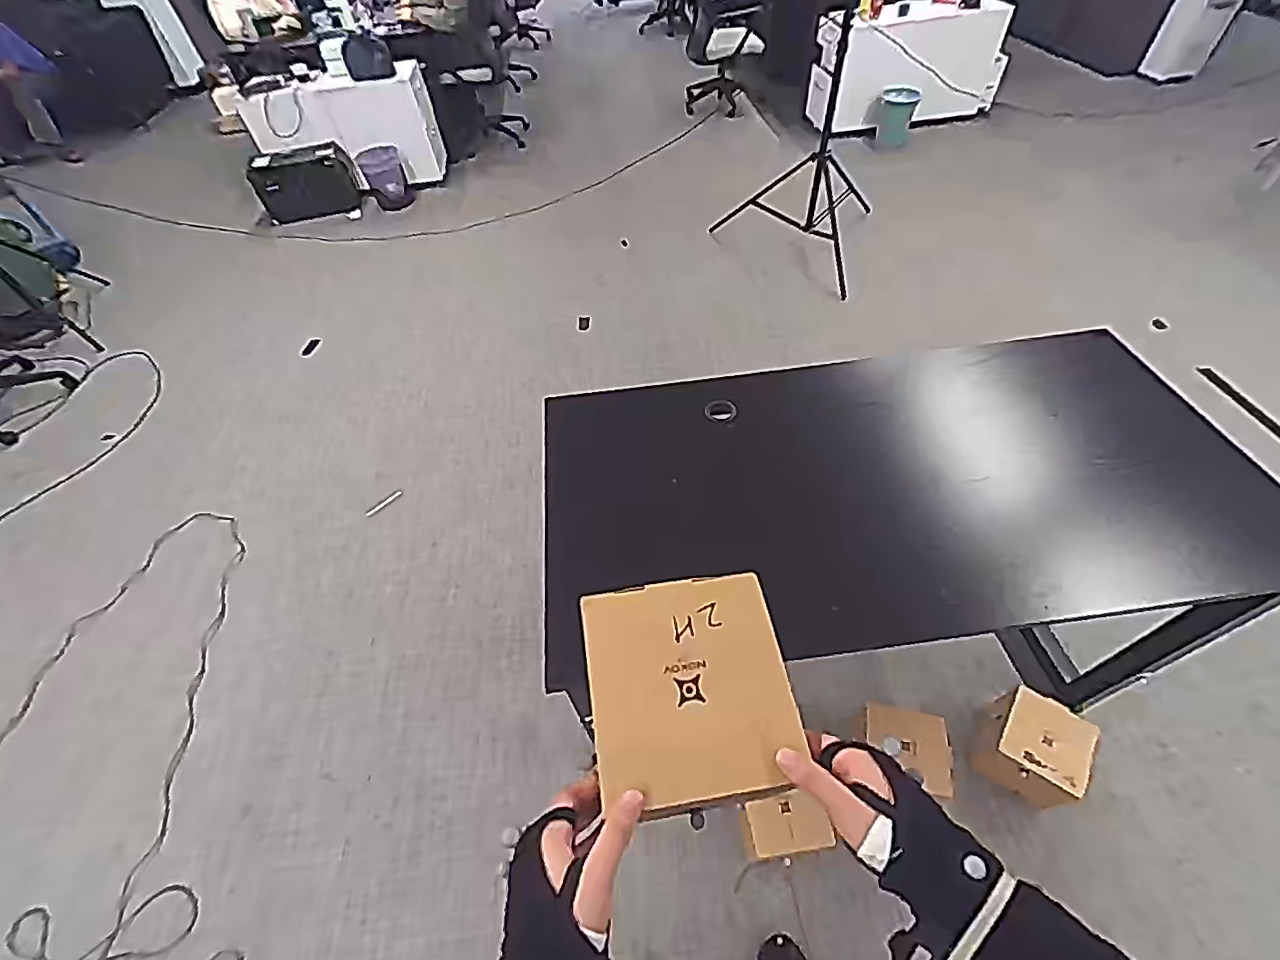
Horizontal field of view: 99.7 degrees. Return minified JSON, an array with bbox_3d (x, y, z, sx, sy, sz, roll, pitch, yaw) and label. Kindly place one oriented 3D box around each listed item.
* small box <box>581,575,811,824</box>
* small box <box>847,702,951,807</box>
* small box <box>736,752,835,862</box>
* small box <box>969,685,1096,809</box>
[{"bbox_3d":[0.039,0.214,0.515,0.168,0.176,0.179,-8,55,-6],"label":"small box"},{"bbox_3d":[0.590,0.638,1.250,0.179,0.176,0.168,8,52,12],"label":"small box"},{"bbox_3d":[0.307,0.727,1.200,0.168,0.176,0.179,-8,52,-2],"label":"small box"},{"bbox_3d":[0.892,0.614,1.241,0.168,0.176,0.179,28,59,25],"label":"small box"}]
